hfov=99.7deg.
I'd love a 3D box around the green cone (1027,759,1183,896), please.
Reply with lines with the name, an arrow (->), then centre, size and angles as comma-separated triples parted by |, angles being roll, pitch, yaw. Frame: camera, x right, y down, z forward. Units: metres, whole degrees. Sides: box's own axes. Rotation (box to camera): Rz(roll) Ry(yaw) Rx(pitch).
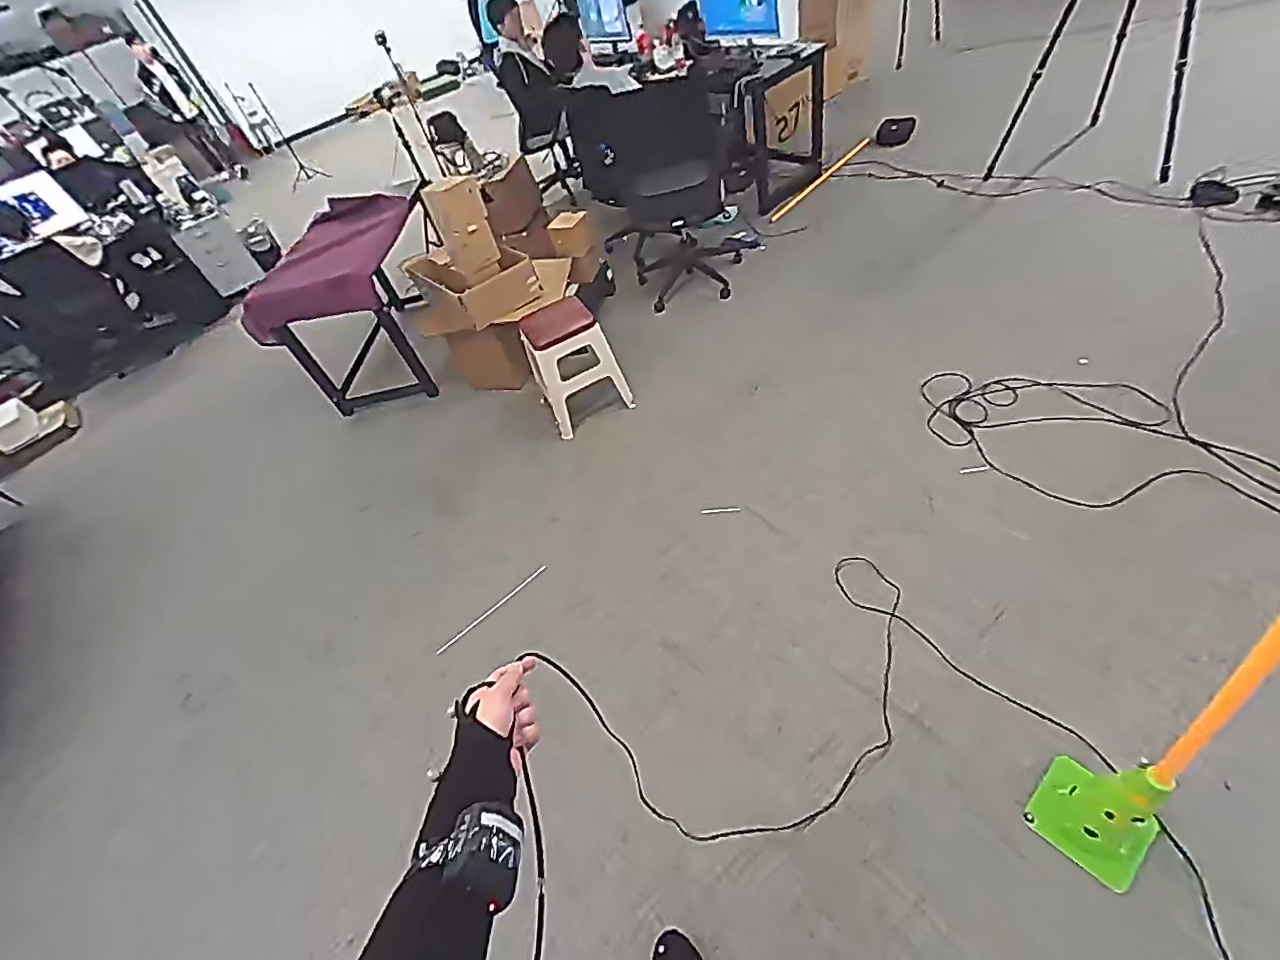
green cone -> 0.967, 0.647, 1.074 | 0.202, 0.368, 0.200 | -40, 50, -20
